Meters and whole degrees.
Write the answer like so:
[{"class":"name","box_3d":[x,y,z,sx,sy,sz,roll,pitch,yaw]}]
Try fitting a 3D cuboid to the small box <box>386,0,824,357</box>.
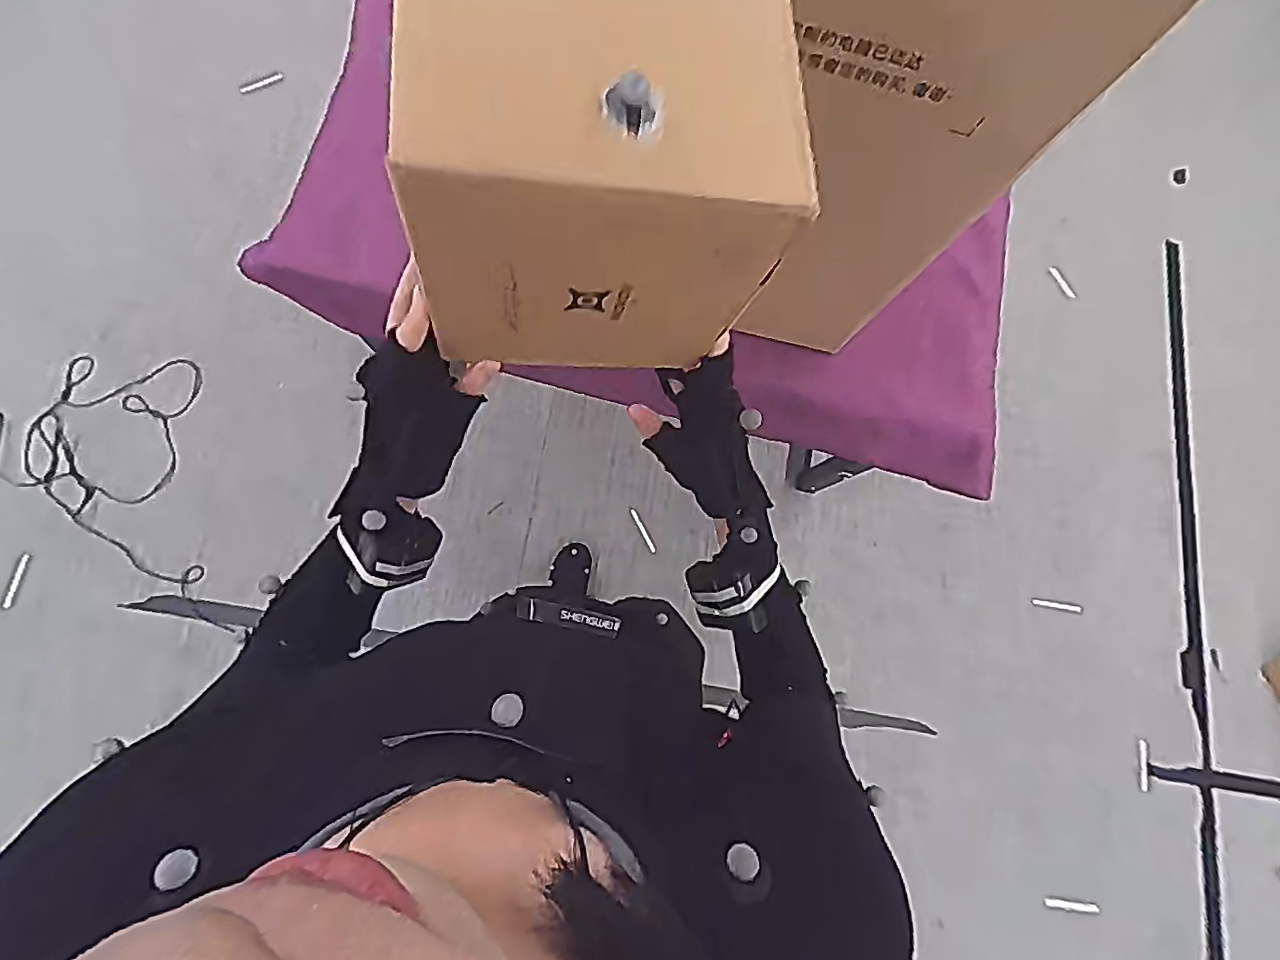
[{"class":"small box","box_3d":[-0.028,-0.183,0.297,0.179,0.168,0.176,0,77,-13]}]
